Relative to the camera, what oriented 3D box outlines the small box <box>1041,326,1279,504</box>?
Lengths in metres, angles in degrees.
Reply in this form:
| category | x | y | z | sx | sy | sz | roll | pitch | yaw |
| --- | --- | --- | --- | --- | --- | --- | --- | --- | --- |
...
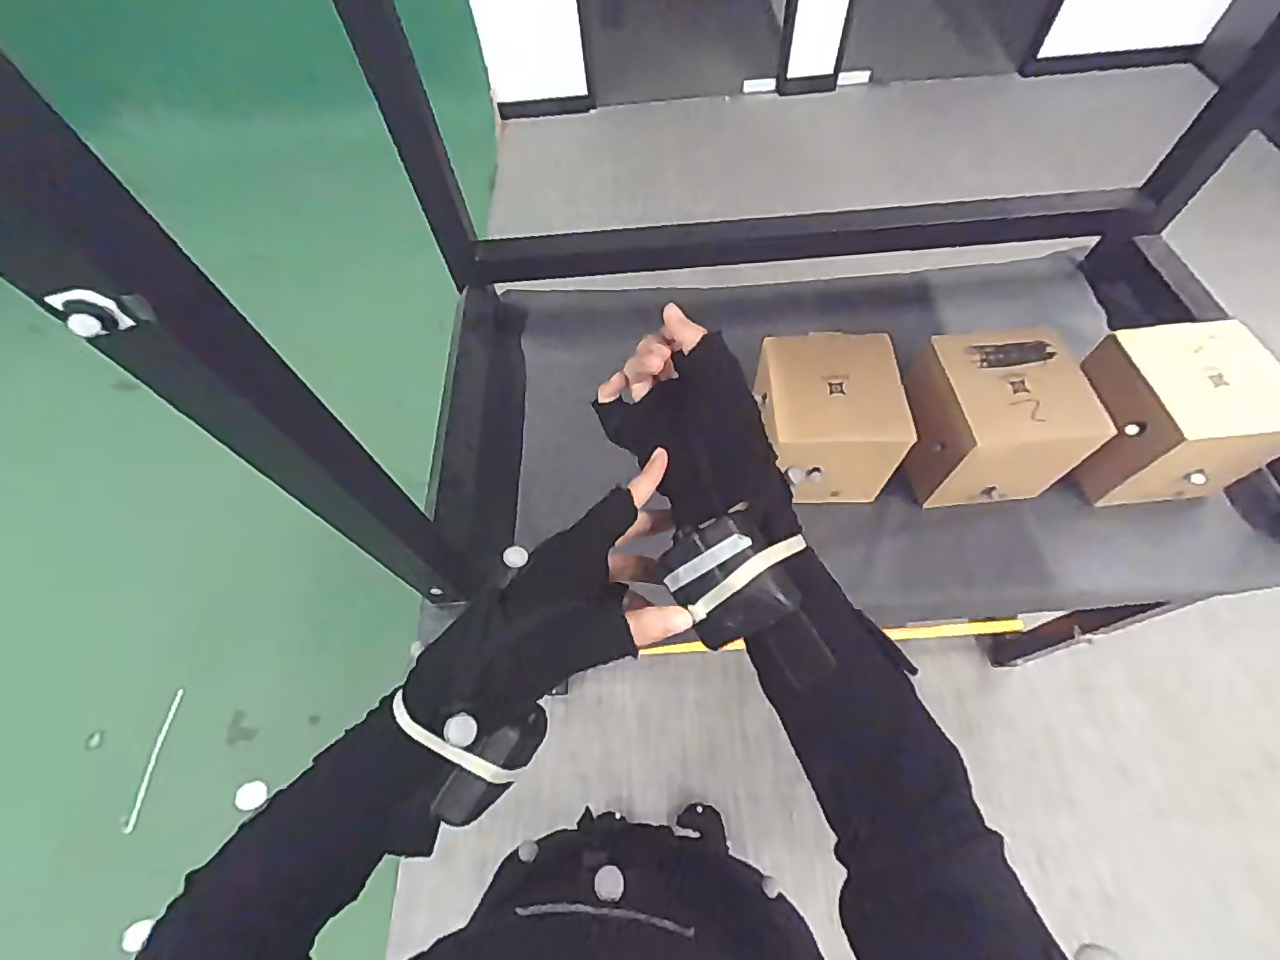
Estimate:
| category | x | y | z | sx | sy | sz | roll | pitch | yaw |
| --- | --- | --- | --- | --- | --- | --- | --- | --- | --- |
| small box | 0.701 | -0.078 | 0.730 | 0.168 | 0.176 | 0.179 | -5 | 59 | 0 |

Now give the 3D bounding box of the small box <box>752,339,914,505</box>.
| category | x | y | z | sx | sy | sz | roll | pitch | yaw |
| --- | --- | --- | --- | --- | --- | --- | --- | --- | --- |
| small box | 0.254 | -0.073 | 0.759 | 0.168 | 0.176 | 0.179 | -1 | 60 | 3 |
